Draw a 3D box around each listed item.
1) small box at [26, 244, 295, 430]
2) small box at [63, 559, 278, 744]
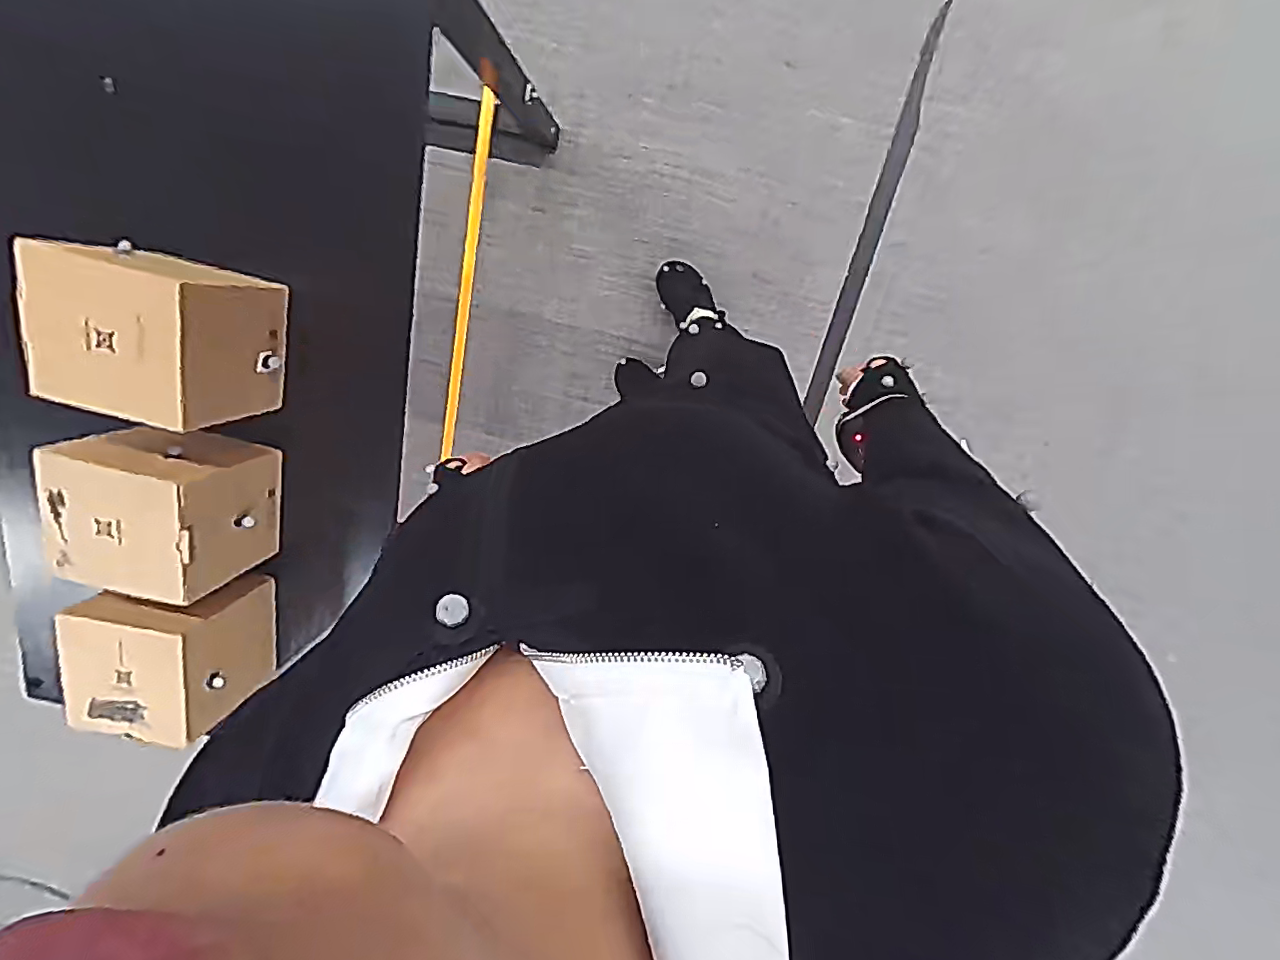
[{"bbox_3d":[-0.562,-0.173,0.658,0.179,0.176,0.168,13,108,-1],"label":"small box"},{"bbox_3d":[-0.659,0.239,0.783,0.168,0.176,0.179,10,106,0],"label":"small box"}]
